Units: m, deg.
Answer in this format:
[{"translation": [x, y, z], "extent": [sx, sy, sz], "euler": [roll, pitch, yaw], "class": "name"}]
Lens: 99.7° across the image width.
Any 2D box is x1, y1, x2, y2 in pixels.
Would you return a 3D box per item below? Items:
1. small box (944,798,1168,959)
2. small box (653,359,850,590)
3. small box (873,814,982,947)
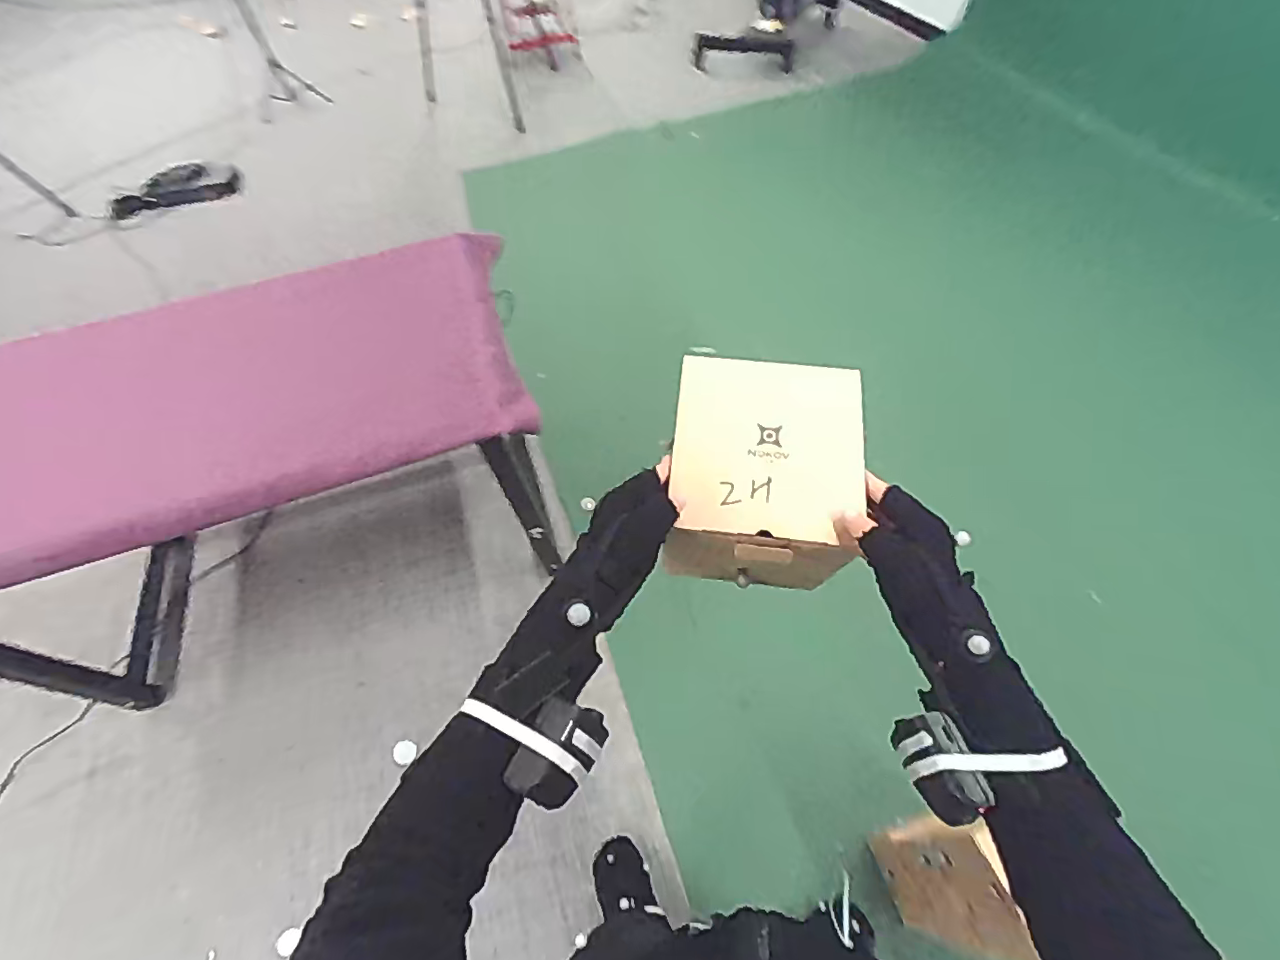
[{"translation": [0.585, 0.594, 0.798], "extent": [0.179, 0.176, 0.168], "euler": [-16, 57, -7], "class": "small box"}, {"translation": [0.103, 0.002, 0.551], "extent": [0.168, 0.176, 0.179], "euler": [5, 68, 5], "class": "small box"}, {"translation": [0.597, 0.781, 1.069], "extent": [0.179, 0.176, 0.168], "euler": [-17, 56, -5], "class": "small box"}]
